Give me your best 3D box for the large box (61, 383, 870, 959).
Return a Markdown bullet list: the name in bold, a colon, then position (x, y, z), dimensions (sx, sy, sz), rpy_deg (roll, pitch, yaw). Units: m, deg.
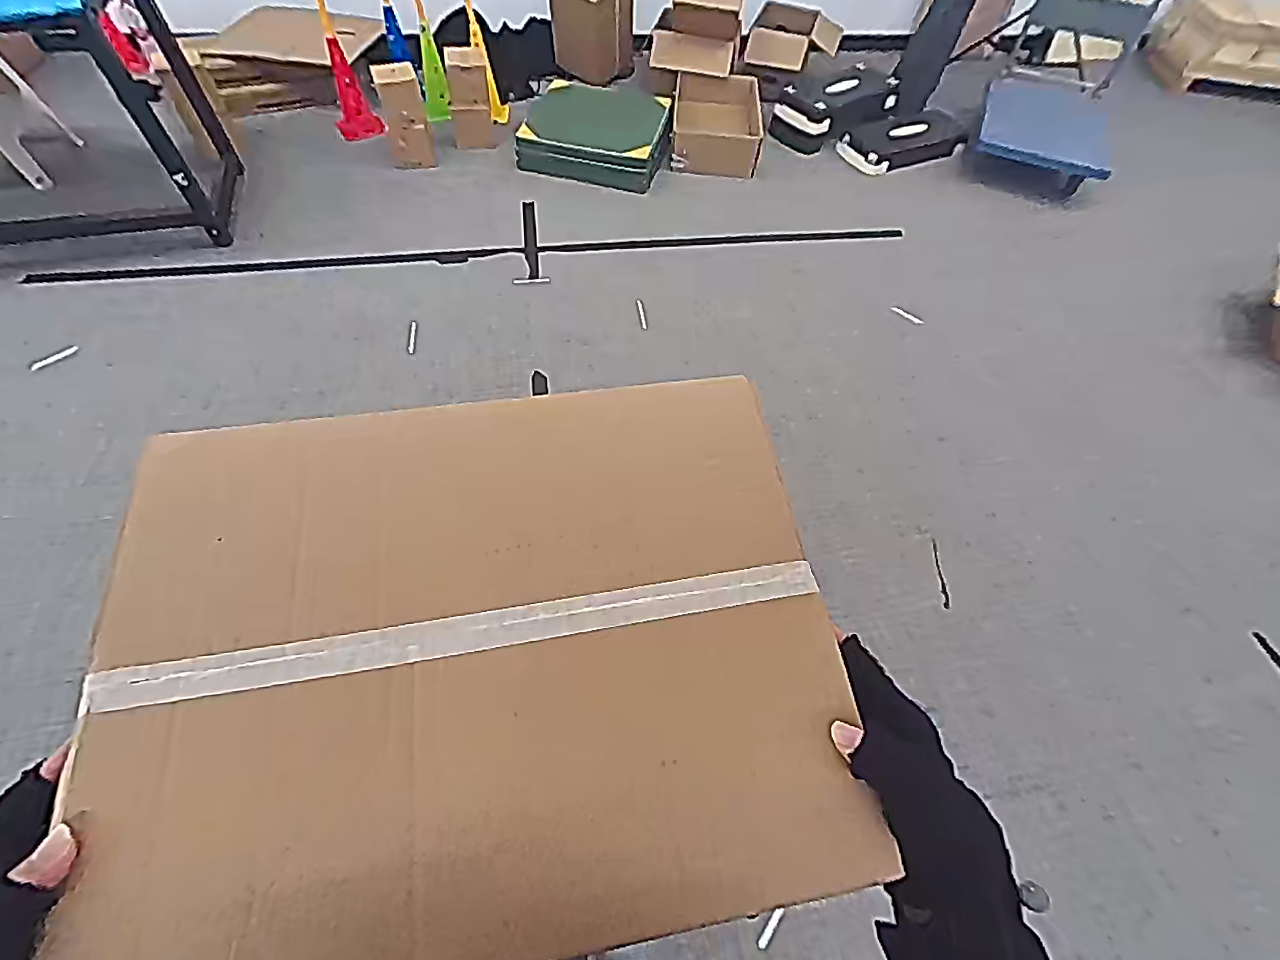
- **large box**: position (-0.103, 0.152, 0.458), dimensions (0.408, 0.320, 0.320), rpy_deg (-8, 65, -7)
